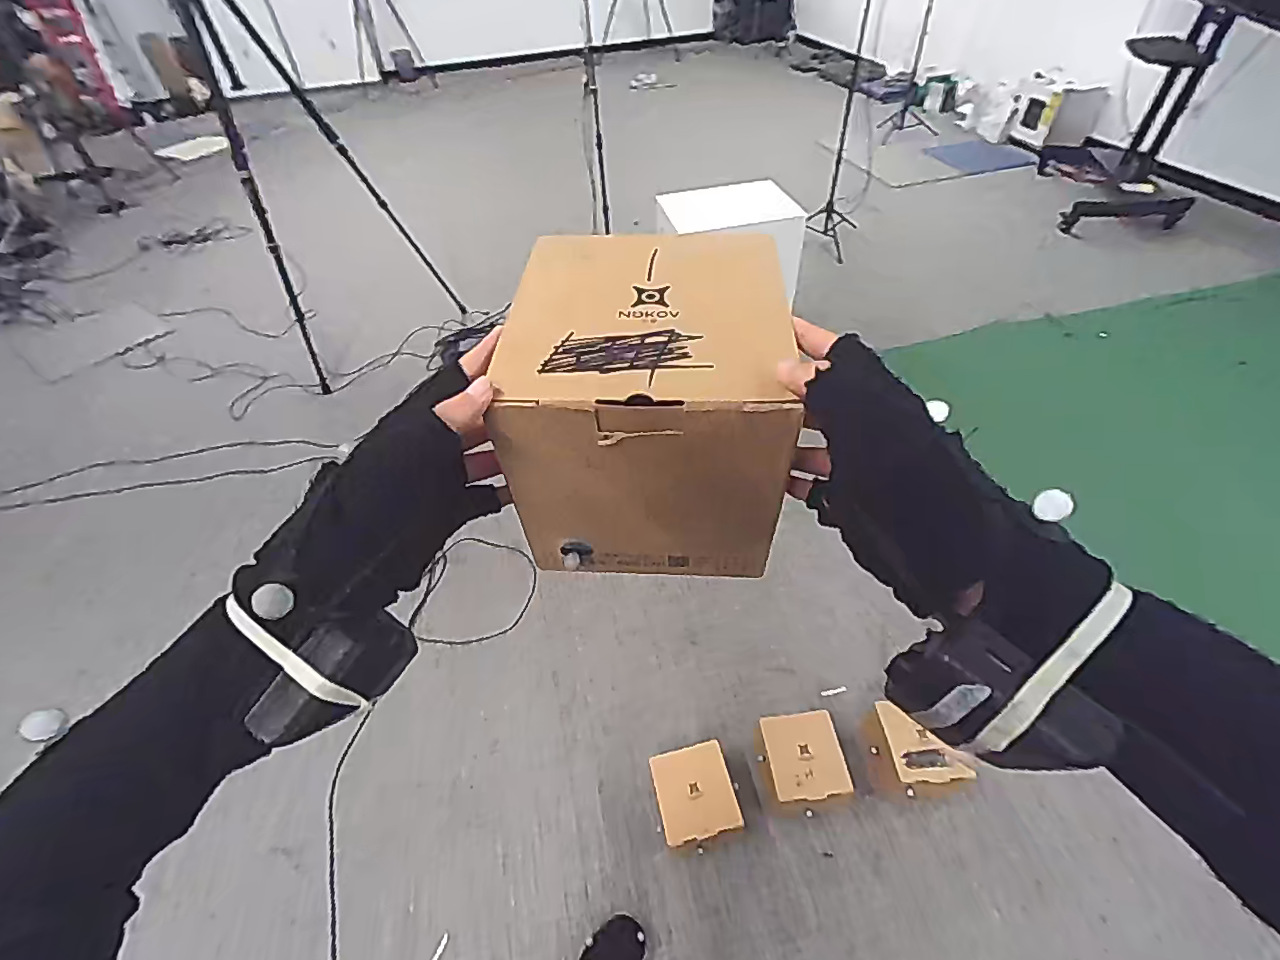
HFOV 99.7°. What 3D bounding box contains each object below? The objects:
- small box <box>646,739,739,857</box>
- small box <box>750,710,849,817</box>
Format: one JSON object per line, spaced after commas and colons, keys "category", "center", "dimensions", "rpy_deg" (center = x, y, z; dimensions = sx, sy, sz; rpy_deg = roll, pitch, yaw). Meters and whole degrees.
{"category": "small box", "center": [0.112, 0.721, 1.223], "dimensions": [0.168, 0.176, 0.179], "rpy_deg": [-12, 48, -7]}
{"category": "small box", "center": [0.359, 0.660, 1.260], "dimensions": [0.168, 0.176, 0.179], "rpy_deg": [-7, 48, -1]}
